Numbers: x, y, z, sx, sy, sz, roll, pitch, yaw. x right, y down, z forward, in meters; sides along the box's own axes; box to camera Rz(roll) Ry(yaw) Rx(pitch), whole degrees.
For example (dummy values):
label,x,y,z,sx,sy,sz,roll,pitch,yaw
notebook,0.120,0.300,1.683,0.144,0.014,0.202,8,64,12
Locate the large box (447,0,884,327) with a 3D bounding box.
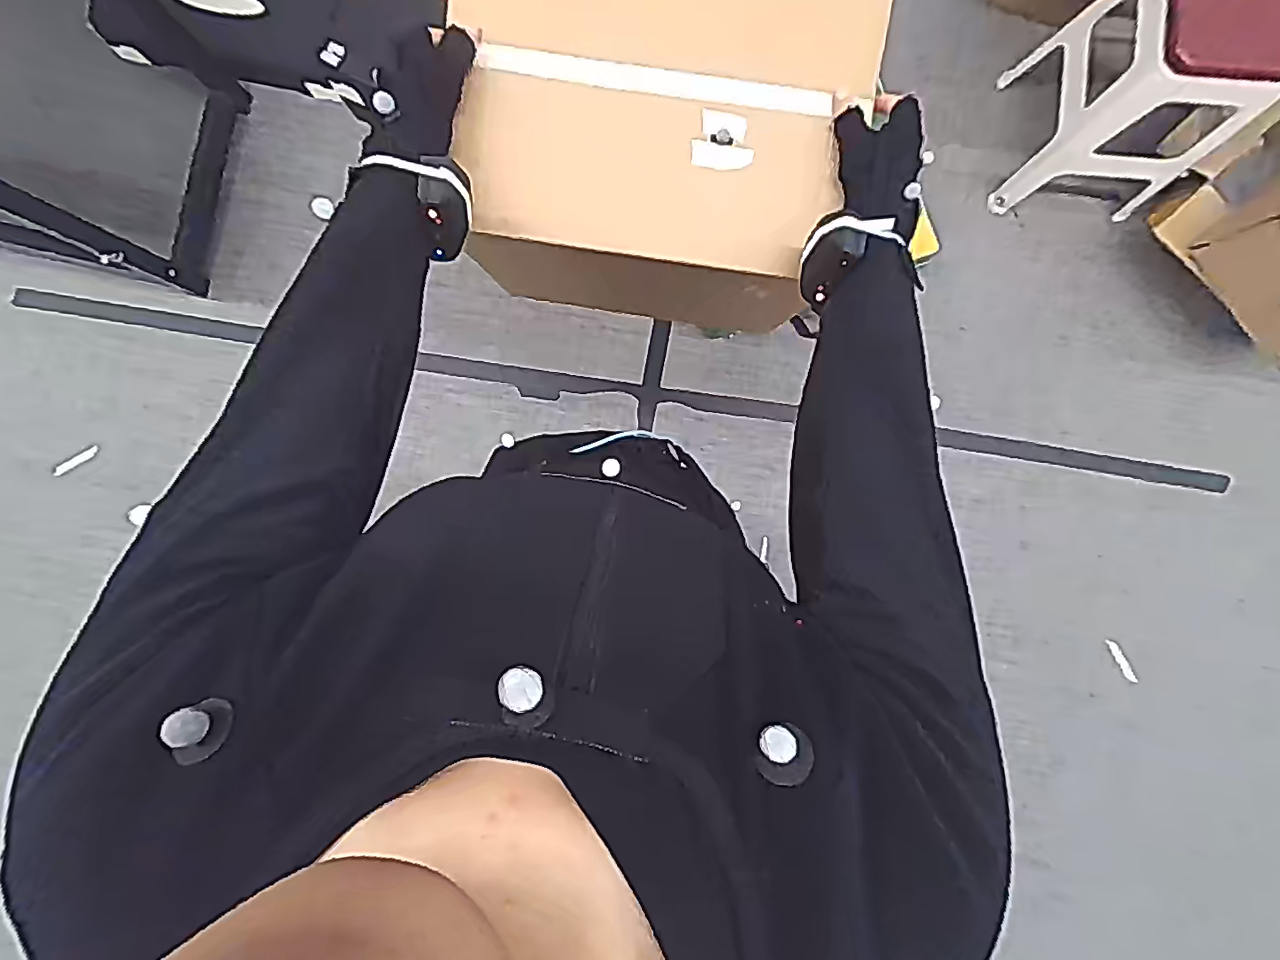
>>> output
label,x,y,z,sx,sy,sz,roll,pitch,yaw
large box,0.020,-0.392,0.669,0.408,0.320,0.320,8,97,-1
